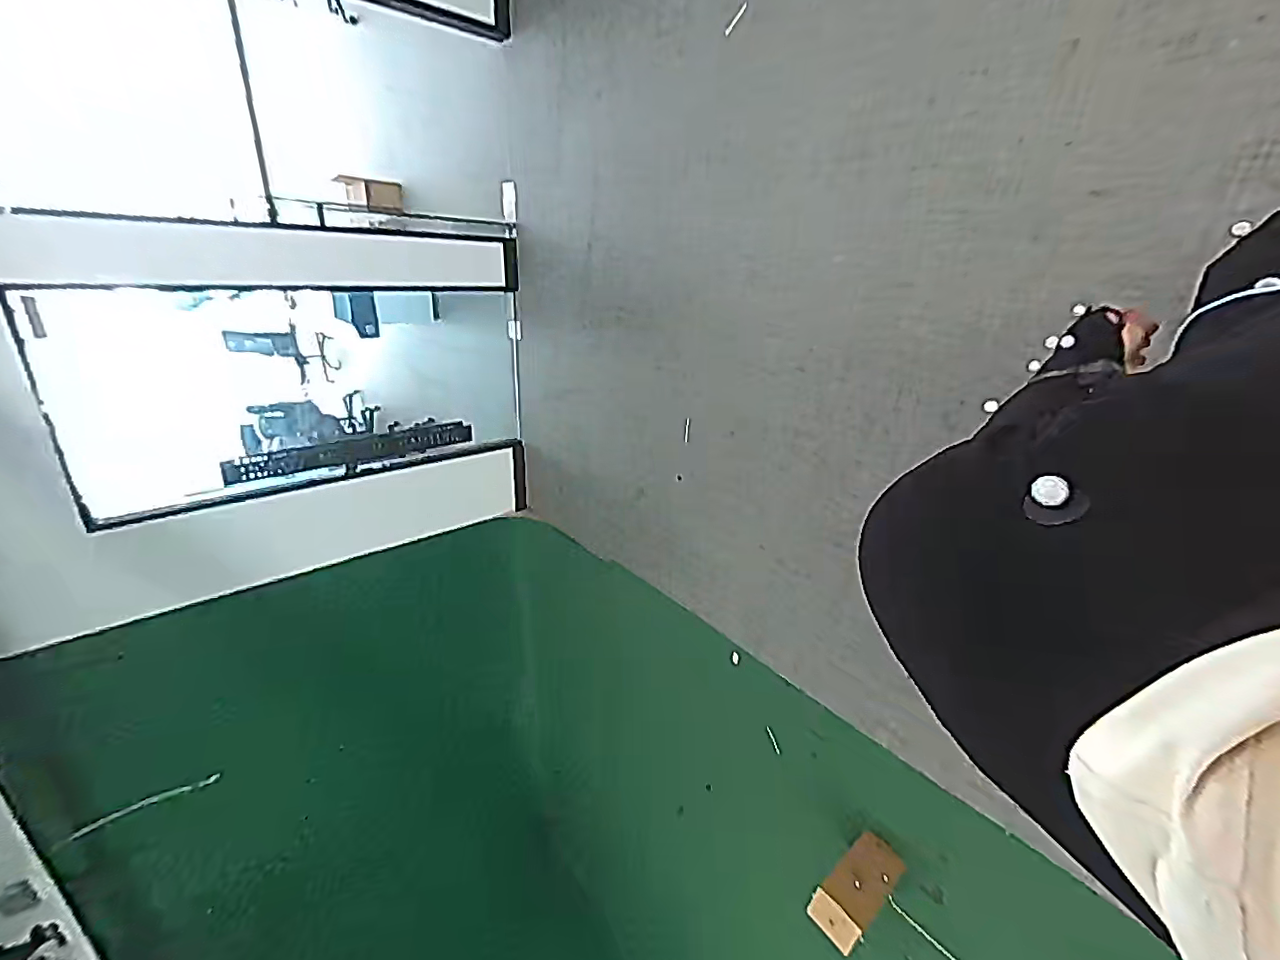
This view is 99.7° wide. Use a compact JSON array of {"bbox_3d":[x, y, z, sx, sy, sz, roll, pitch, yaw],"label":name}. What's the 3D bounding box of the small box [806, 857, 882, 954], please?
[{"bbox_3d":[0.719,1.486,1.897,0.168,0.176,0.179,33,126,39],"label":"small box"}]
